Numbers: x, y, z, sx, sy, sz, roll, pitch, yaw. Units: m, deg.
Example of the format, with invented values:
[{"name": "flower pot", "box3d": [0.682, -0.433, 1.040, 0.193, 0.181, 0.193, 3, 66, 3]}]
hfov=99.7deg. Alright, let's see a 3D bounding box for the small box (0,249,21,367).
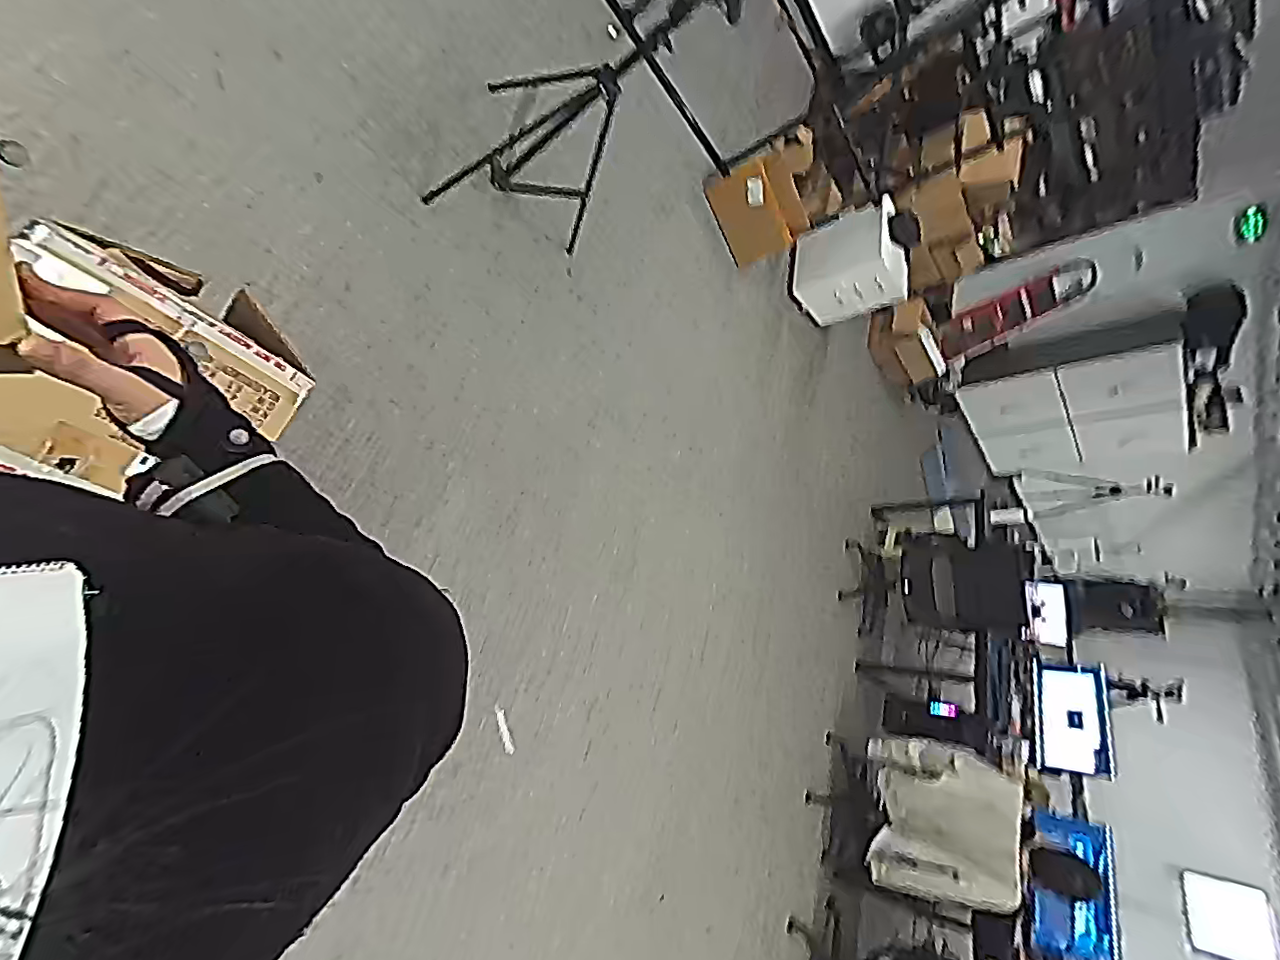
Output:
[{"name": "small box", "box3d": [-0.495, -0.159, 0.307, 0.168, 0.176, 0.179, -13, 103, -47]}]
